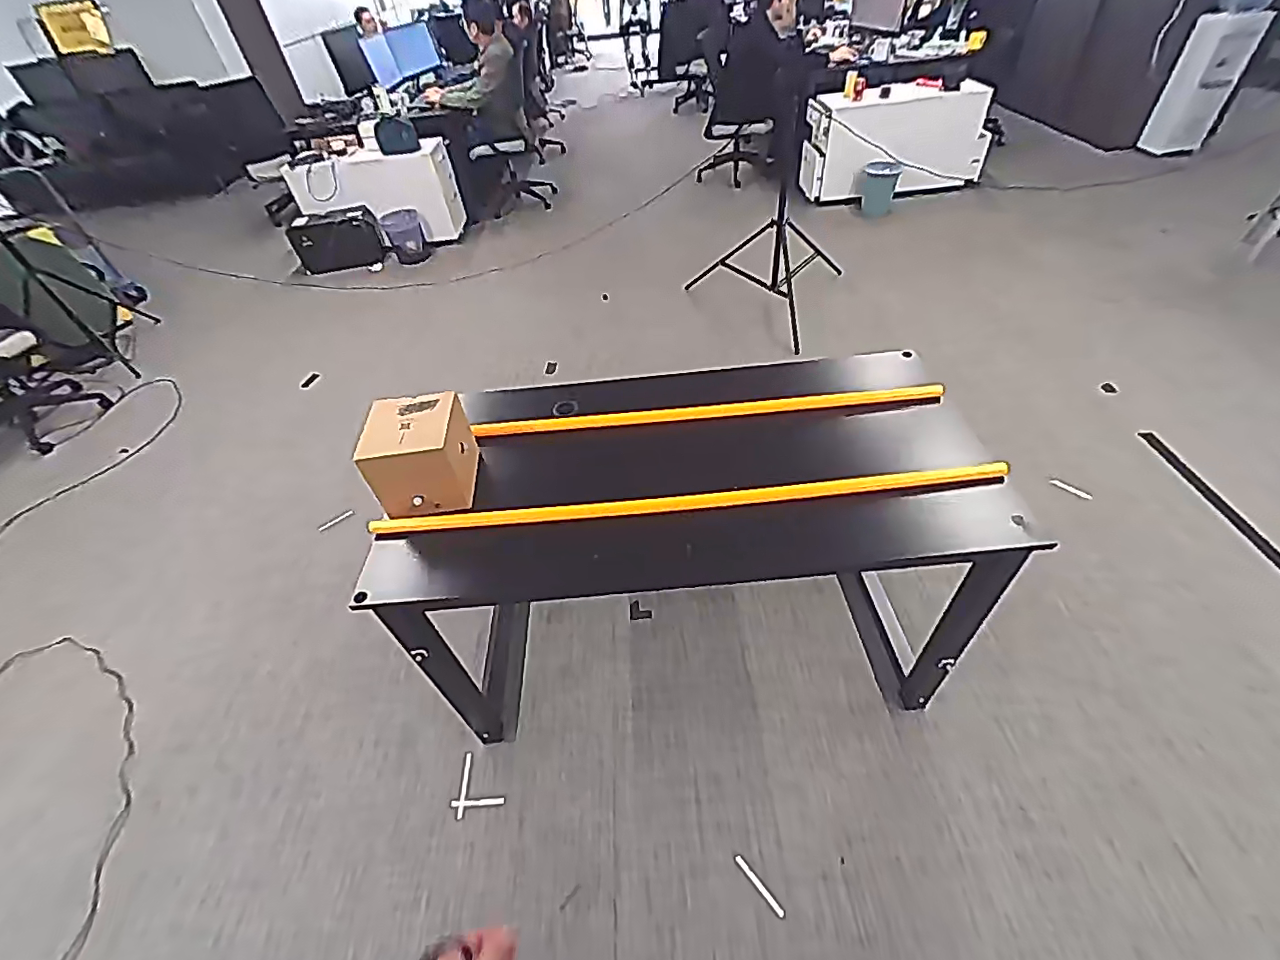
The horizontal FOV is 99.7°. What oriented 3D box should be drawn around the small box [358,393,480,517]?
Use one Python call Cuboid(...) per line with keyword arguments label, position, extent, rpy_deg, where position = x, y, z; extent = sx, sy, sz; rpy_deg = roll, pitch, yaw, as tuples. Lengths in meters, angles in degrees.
Cuboid(label="small box", position=(-0.429, -0.050, 1.086), extent=(0.168, 0.176, 0.179), rpy_deg=(-8, 46, -1))
